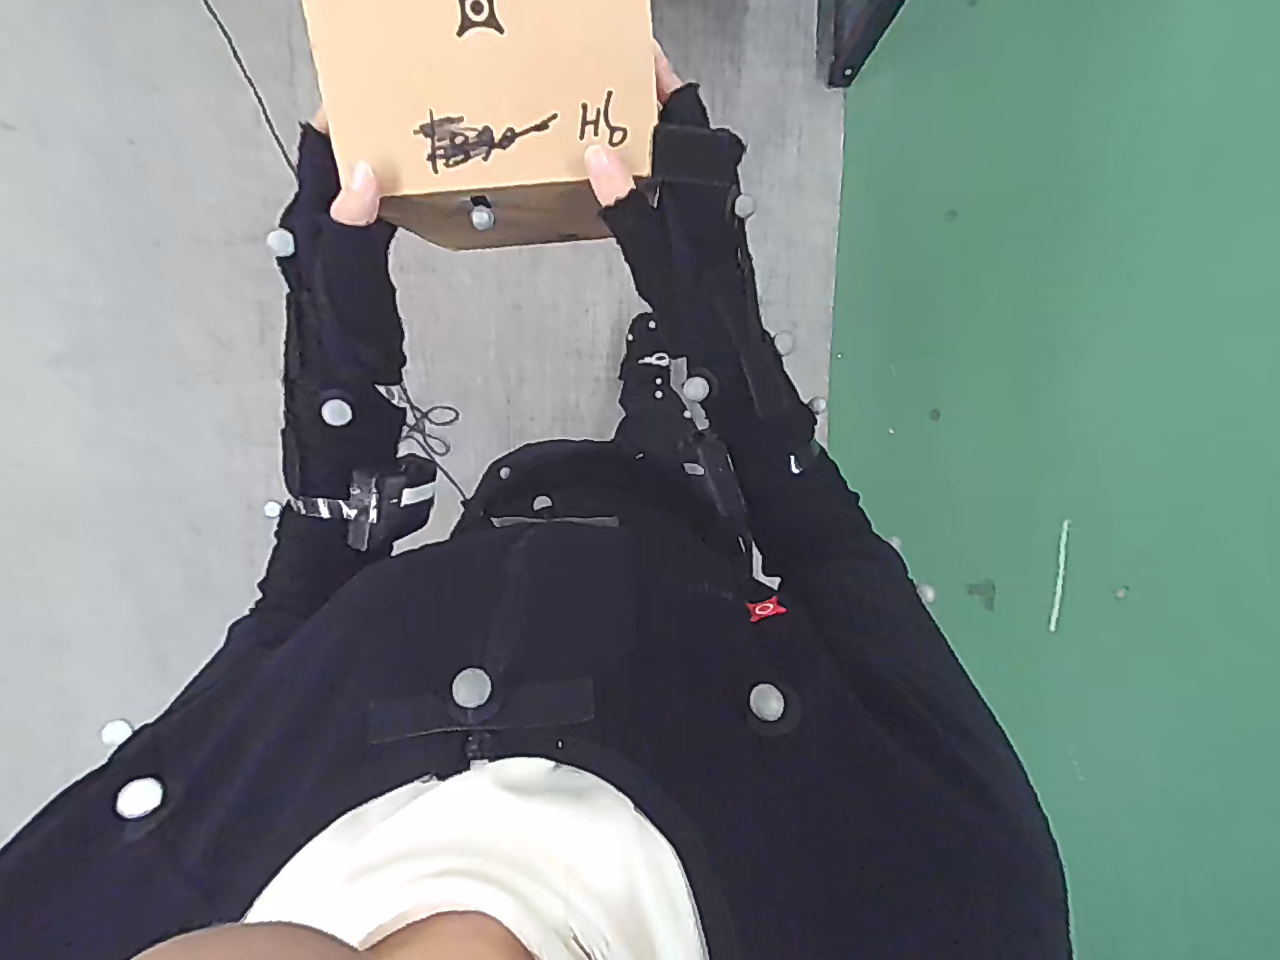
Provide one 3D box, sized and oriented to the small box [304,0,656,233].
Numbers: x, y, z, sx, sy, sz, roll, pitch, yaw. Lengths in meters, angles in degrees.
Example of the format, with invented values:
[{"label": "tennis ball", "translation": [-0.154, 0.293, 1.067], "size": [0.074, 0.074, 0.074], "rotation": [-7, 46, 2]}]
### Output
[{"label": "small box", "translation": [-0.081, -0.267, 0.332], "size": [0.168, 0.176, 0.179], "rotation": [-5, 104, 0]}]
